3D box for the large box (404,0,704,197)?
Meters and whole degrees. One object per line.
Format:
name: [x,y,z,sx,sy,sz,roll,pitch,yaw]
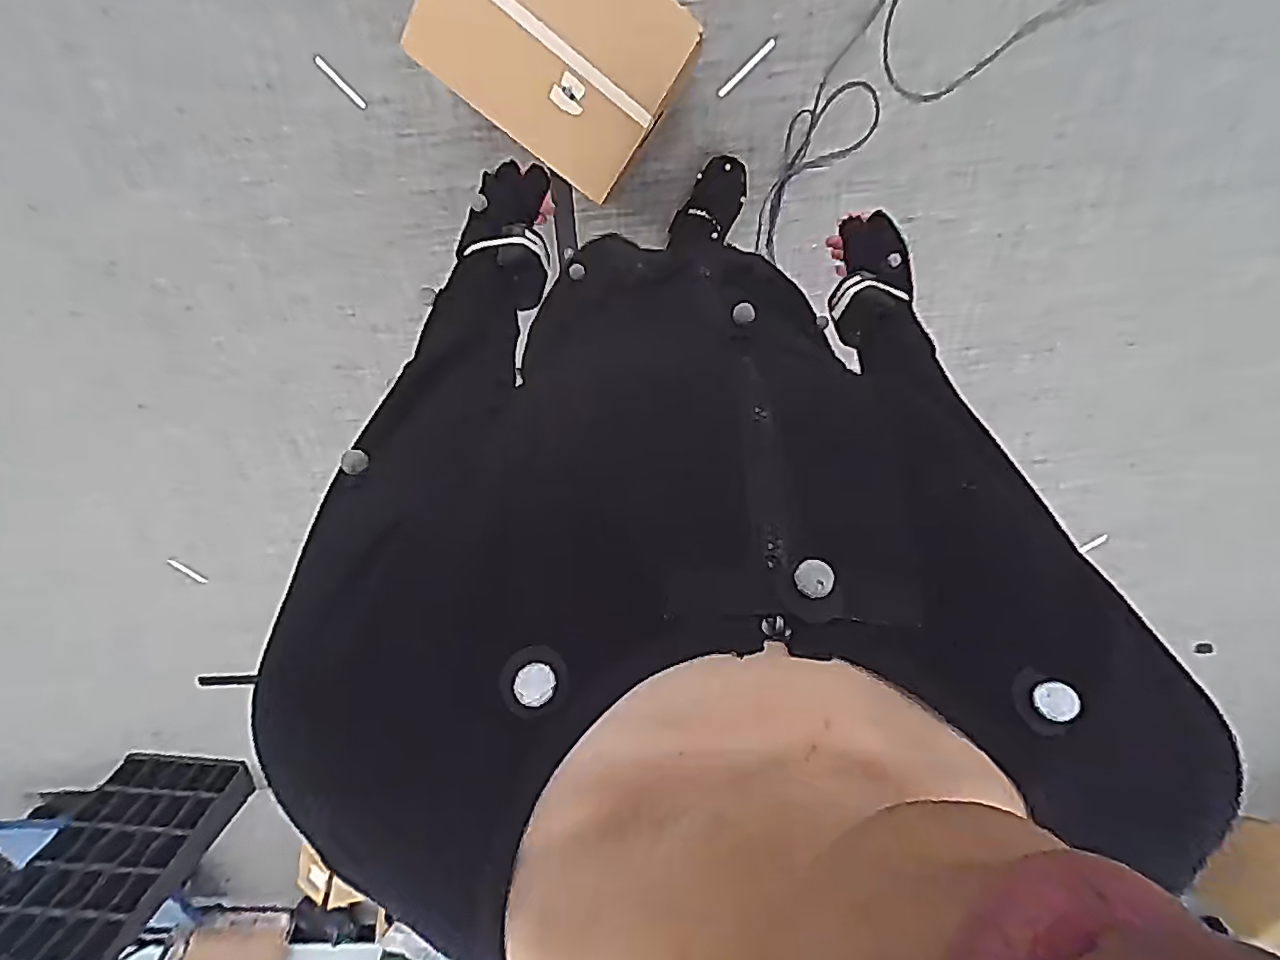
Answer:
large box: [-0.144,-0.796,1.011,0.408,0.320,0.320,32,115,-16]
